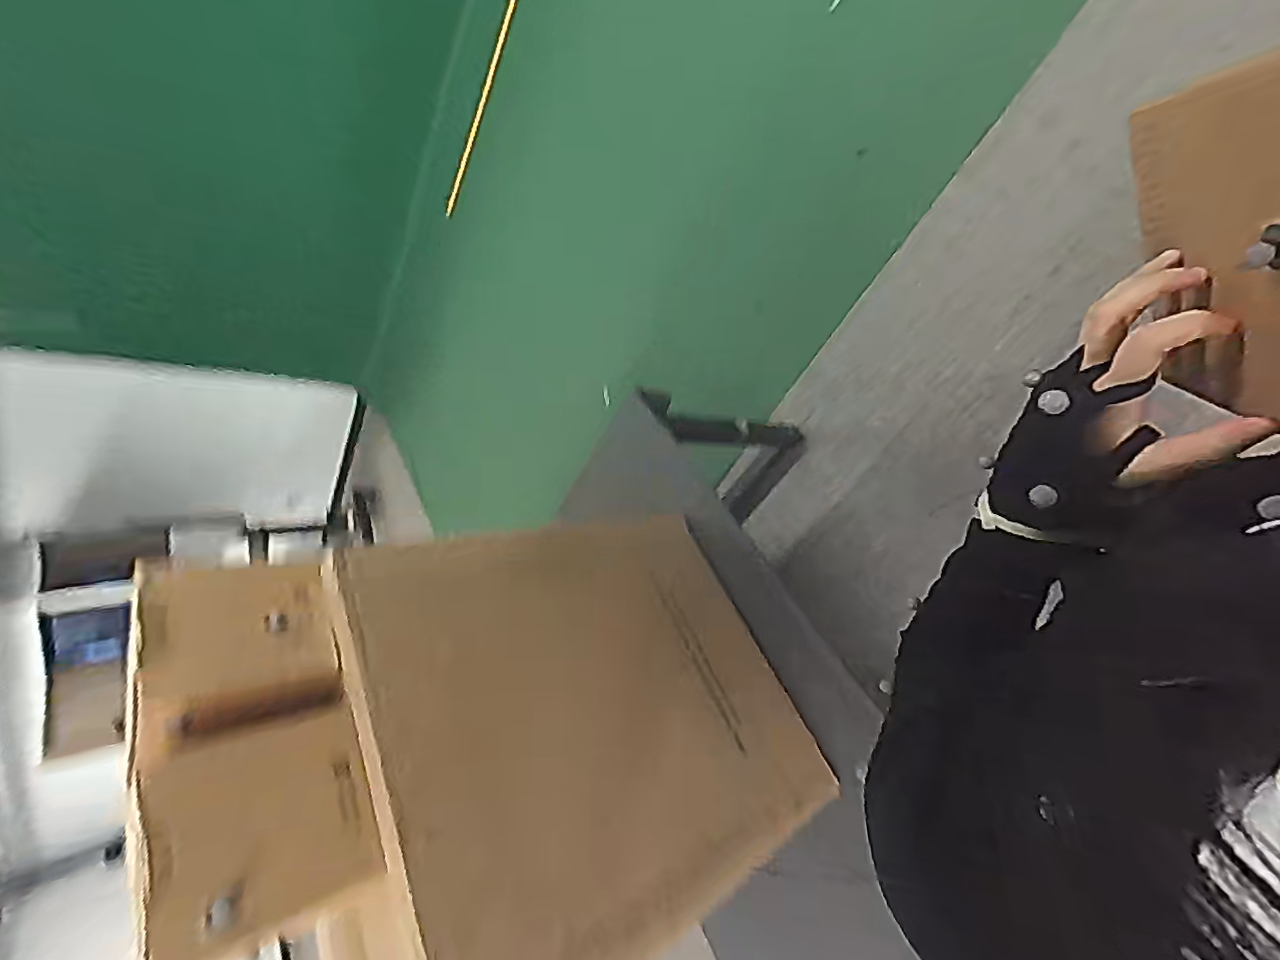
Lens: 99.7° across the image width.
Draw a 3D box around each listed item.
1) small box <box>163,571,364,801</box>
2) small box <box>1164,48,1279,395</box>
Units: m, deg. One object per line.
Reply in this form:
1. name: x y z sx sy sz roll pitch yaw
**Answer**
1. small box: -0.438 0.226 0.628 0.168 0.176 0.179 52 123 34
2. small box: 0.383 -0.135 0.241 0.168 0.176 0.179 -16 109 27
